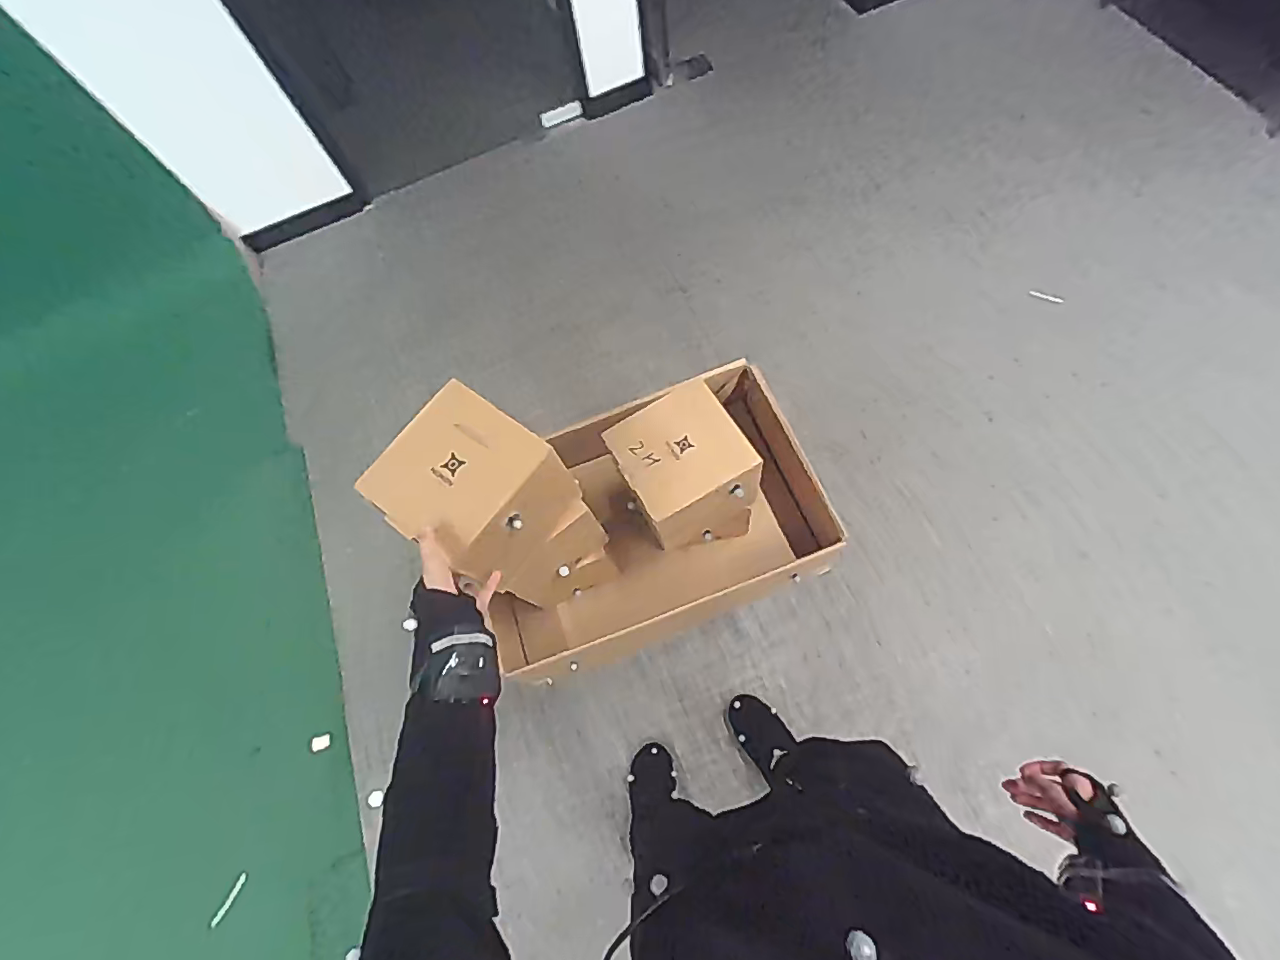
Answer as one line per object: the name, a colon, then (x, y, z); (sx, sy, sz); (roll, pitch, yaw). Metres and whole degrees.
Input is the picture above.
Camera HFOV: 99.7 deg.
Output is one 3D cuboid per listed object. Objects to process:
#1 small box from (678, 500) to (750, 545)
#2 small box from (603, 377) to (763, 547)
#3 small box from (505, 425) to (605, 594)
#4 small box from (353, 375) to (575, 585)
small box: (0.101, 0.012, 0.995); (0.168, 0.176, 0.179); (-13, 68, 4)
small box: (0.067, -0.020, 0.834); (0.179, 0.176, 0.168); (-29, 66, -3)
small box: (-0.177, 0.054, 0.837); (0.168, 0.176, 0.179); (-37, 69, -7)
small box: (-0.205, 0.010, 0.682); (0.168, 0.176, 0.179); (36, 78, 18)
